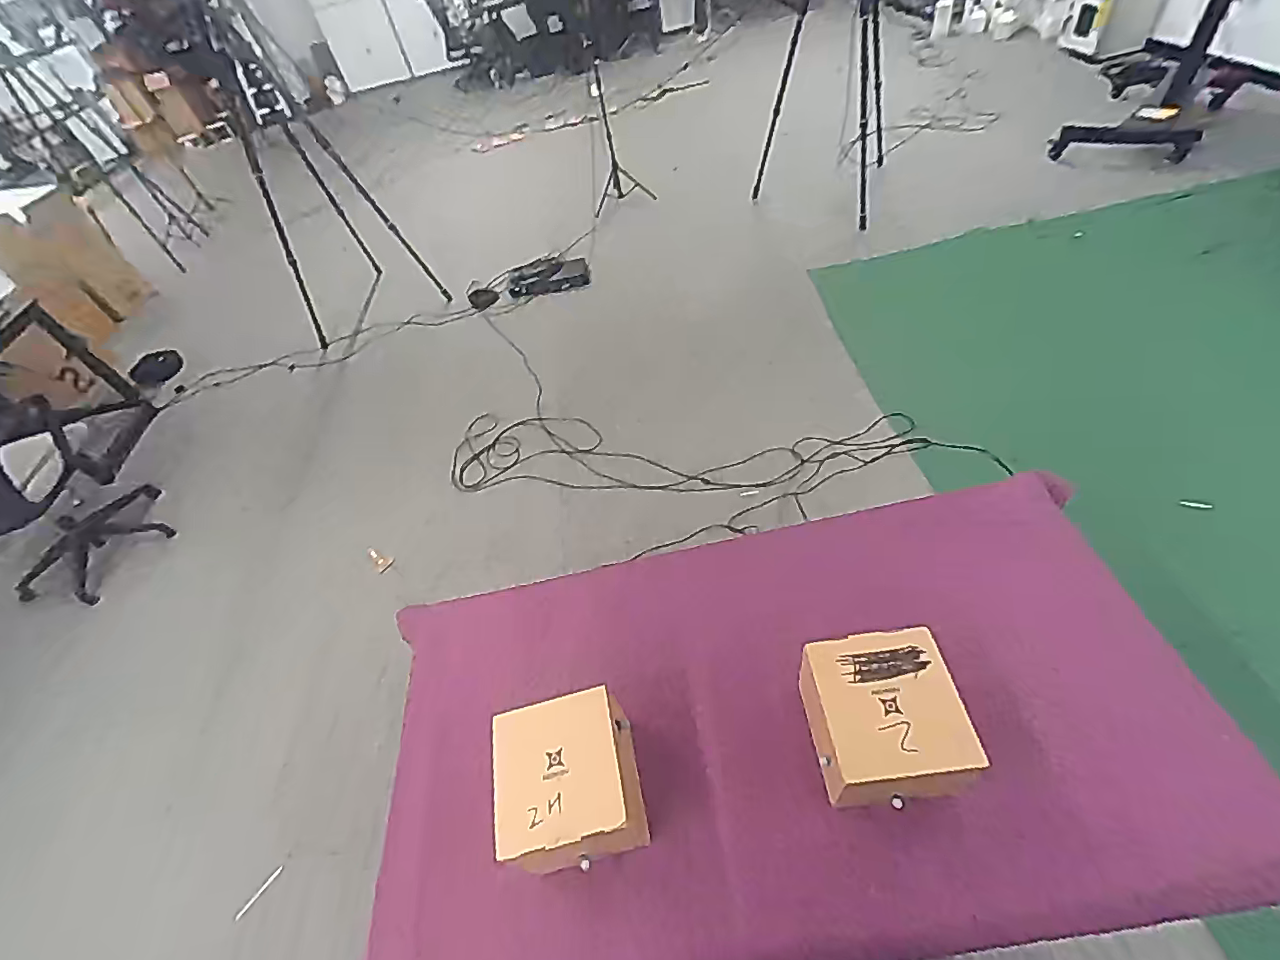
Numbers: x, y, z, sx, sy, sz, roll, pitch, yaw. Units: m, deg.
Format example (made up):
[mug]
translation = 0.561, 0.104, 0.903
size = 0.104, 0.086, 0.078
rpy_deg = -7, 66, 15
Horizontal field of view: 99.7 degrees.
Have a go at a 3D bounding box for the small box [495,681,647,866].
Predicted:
[small box]
translation = -0.095, 0.416, 0.764
size = 0.168, 0.176, 0.179
rpy_deg = -16, 49, 1
